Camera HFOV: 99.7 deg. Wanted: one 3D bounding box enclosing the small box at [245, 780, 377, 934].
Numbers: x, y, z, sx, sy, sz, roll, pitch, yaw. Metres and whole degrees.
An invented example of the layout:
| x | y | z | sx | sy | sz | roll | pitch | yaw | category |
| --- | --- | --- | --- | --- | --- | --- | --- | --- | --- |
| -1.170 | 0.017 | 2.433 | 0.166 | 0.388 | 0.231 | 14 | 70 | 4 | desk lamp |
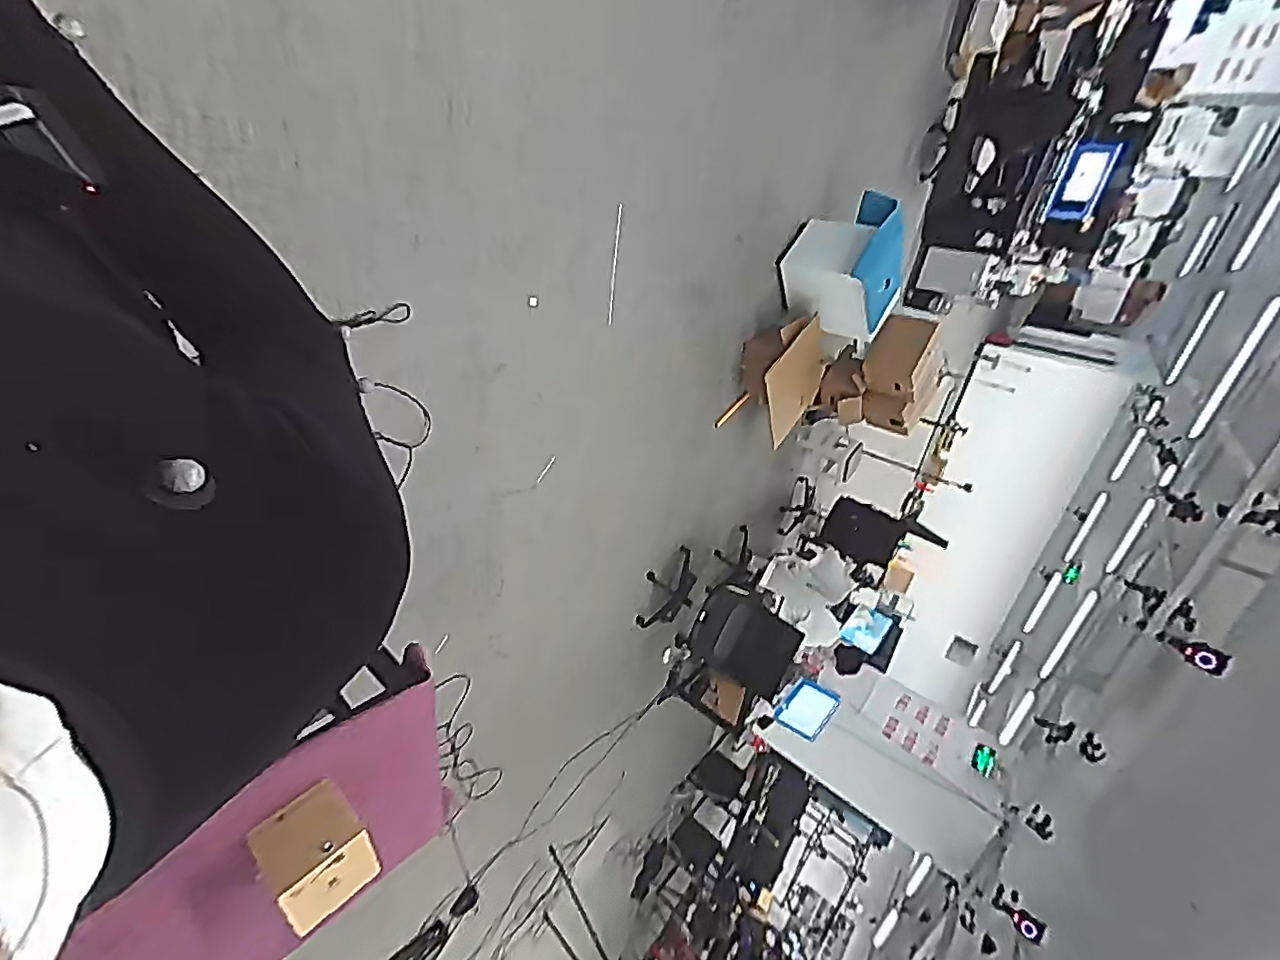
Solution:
| x | y | z | sx | sy | sz | roll | pitch | yaw | category |
| --- | --- | --- | --- | --- | --- | --- | --- | --- | --- |
| -0.684 | 0.778 | 1.132 | 0.168 | 0.176 | 0.179 | -29 | 135 | -43 | small box |
